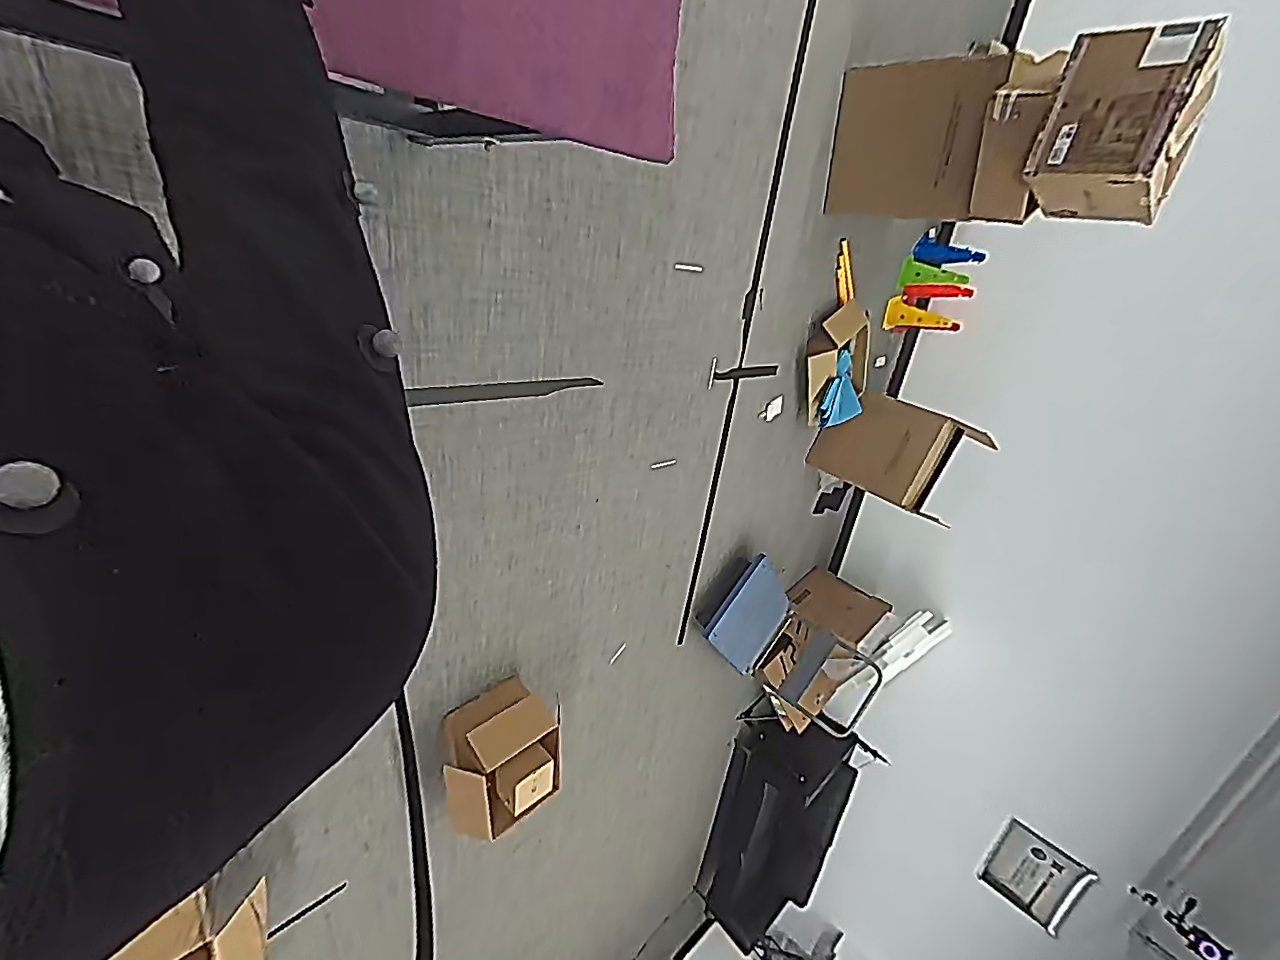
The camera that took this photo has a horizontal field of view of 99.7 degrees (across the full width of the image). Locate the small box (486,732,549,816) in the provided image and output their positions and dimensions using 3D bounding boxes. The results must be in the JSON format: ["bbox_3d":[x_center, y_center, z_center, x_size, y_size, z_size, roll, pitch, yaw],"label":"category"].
[{"bbox_3d":[-0.460,1.090,2.017,0.168,0.176,0.179,-18,124,-43],"label":"small box"}]
